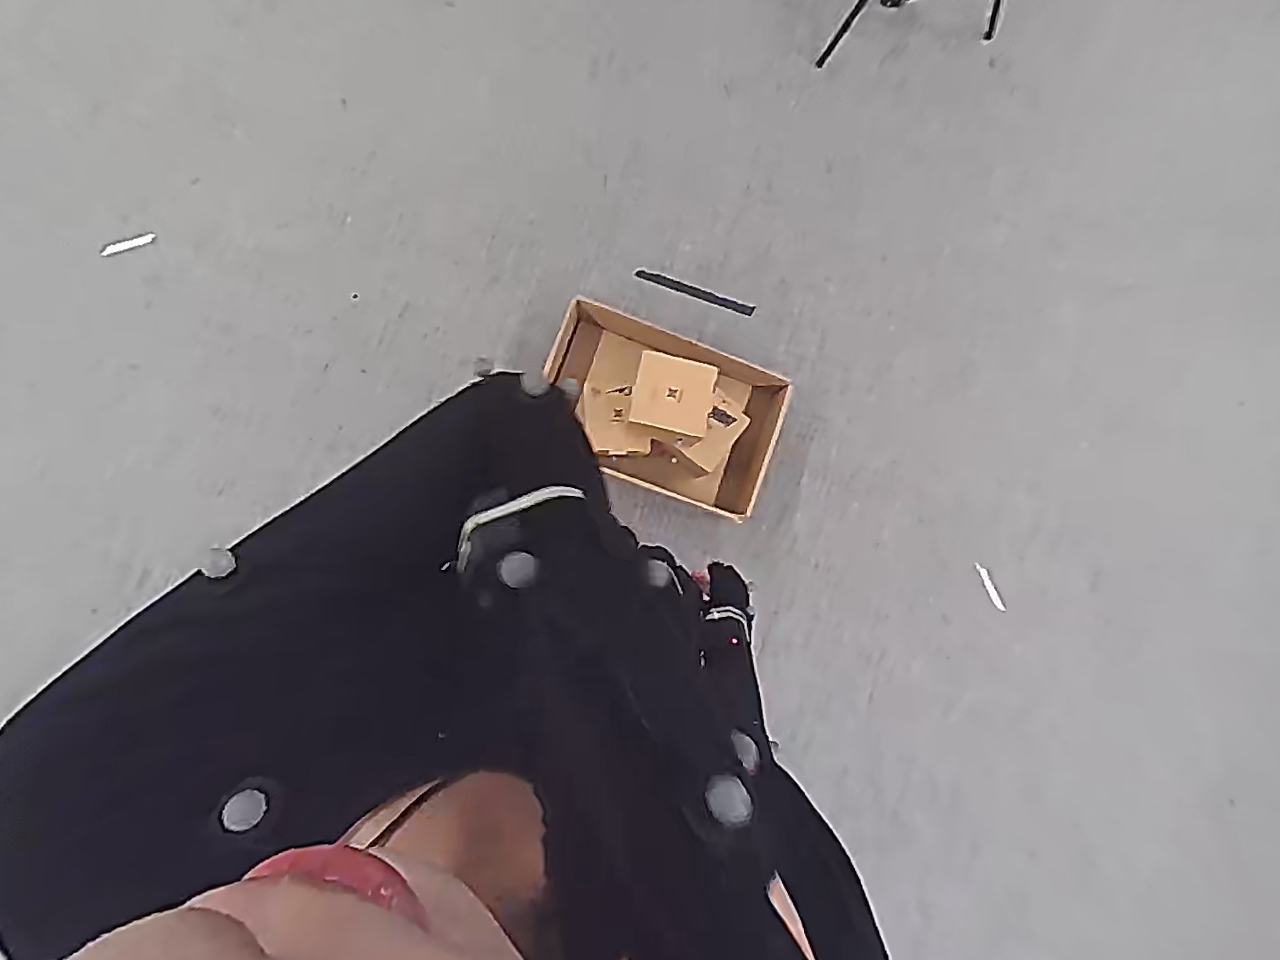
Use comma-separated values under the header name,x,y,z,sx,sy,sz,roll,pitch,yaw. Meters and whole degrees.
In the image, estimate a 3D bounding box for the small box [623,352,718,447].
name,x,y,z,sx,sy,sz,roll,pitch,yaw
small box,0.064,-0.179,1.258,0.179,0.176,0.168,12,84,-4
